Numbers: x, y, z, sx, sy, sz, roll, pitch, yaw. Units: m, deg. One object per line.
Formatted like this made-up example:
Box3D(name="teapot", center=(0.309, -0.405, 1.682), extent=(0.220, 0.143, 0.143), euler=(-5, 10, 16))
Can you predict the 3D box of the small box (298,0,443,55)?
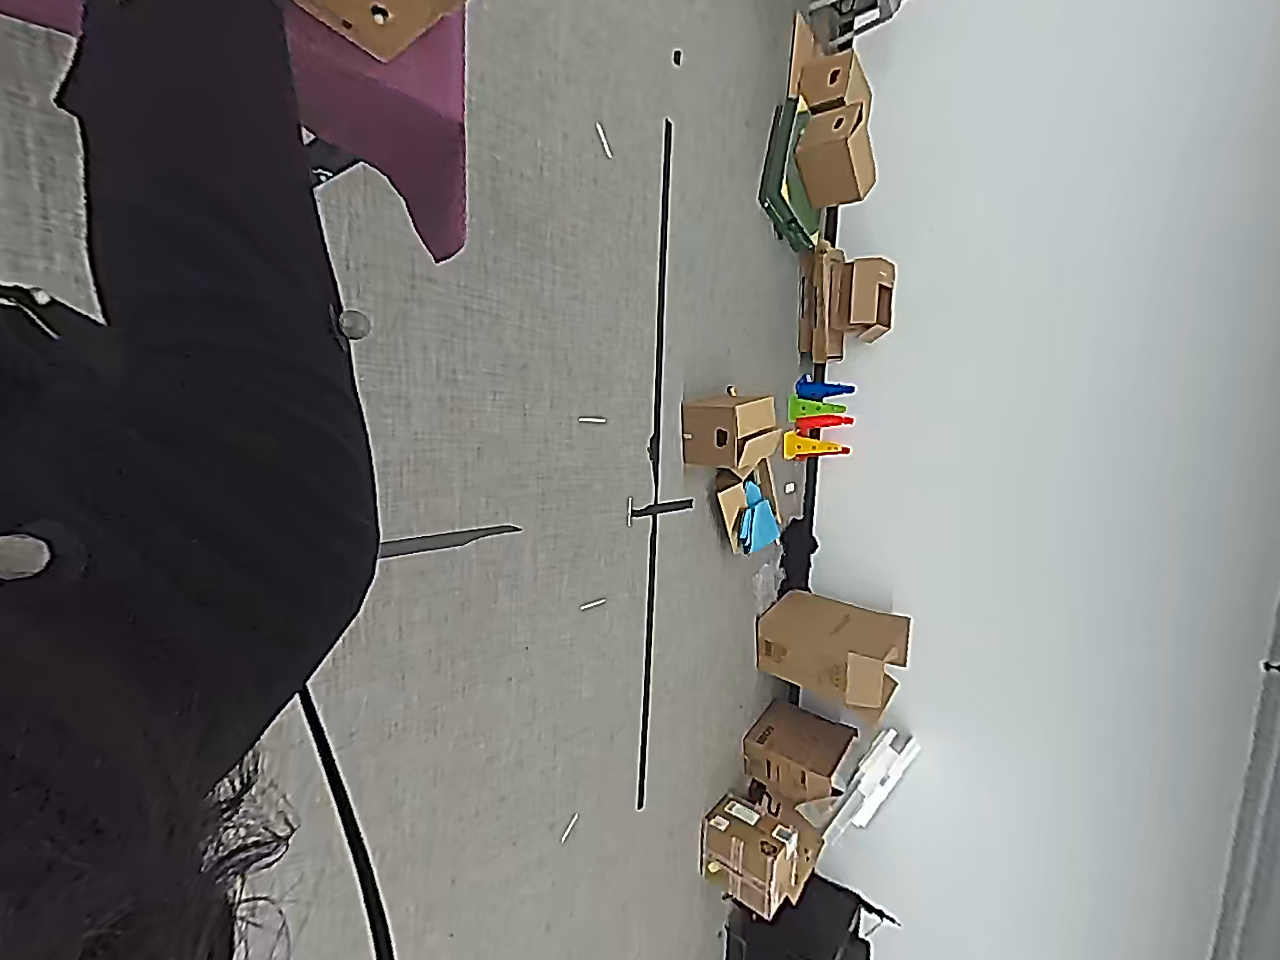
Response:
Box3D(name="small box", center=(-0.346, -0.674, 0.654), extent=(0.168, 0.176, 0.179), euler=(8, 89, -53))
